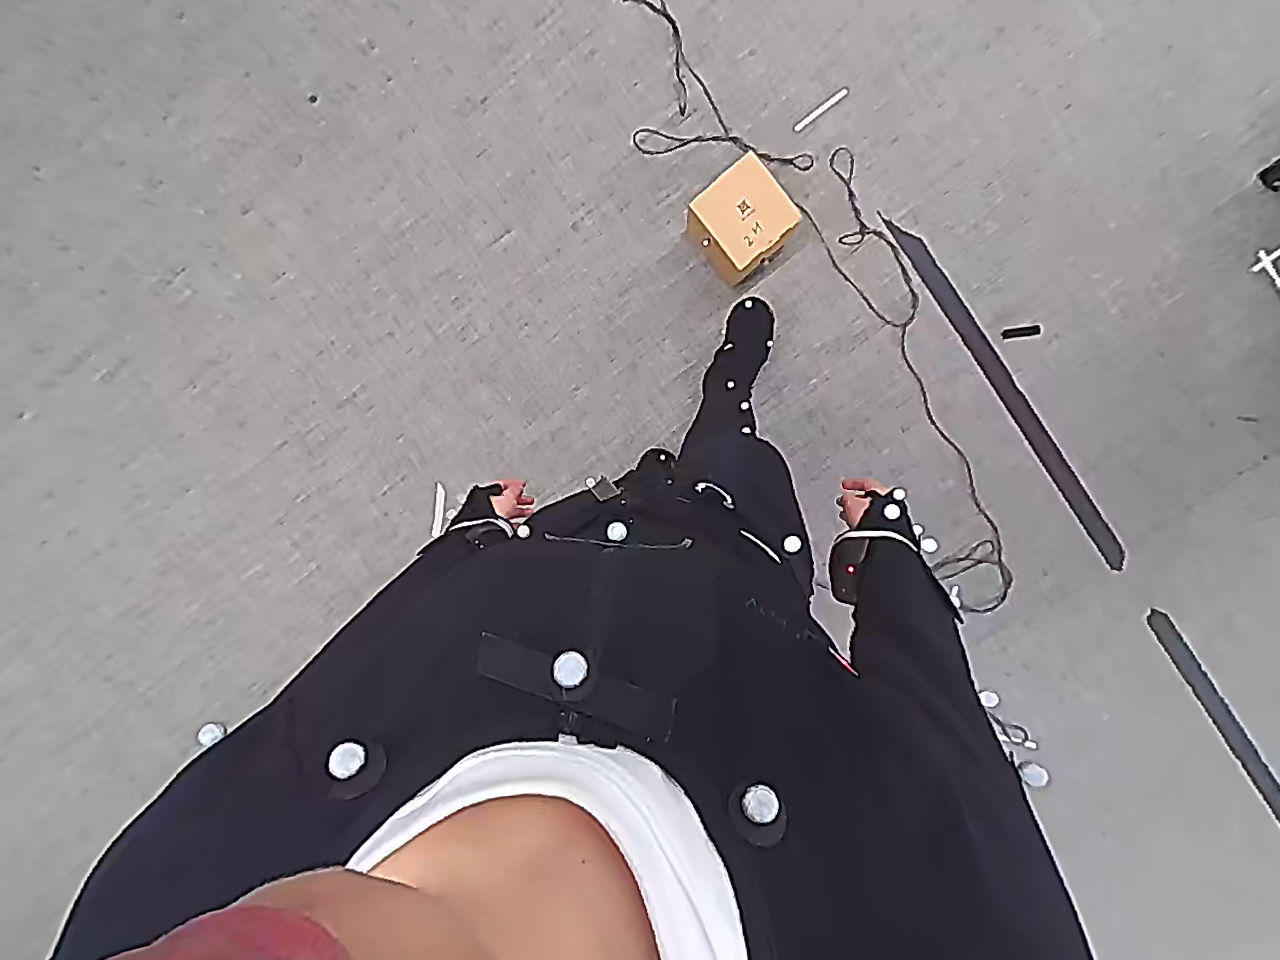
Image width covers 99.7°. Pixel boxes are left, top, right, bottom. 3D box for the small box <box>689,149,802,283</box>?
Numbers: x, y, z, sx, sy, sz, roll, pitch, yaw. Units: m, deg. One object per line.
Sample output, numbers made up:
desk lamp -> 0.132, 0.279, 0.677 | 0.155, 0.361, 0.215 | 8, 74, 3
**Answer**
small box -> 0.219, -0.560, 1.177 | 0.168, 0.176, 0.179 | -38, 94, 8
